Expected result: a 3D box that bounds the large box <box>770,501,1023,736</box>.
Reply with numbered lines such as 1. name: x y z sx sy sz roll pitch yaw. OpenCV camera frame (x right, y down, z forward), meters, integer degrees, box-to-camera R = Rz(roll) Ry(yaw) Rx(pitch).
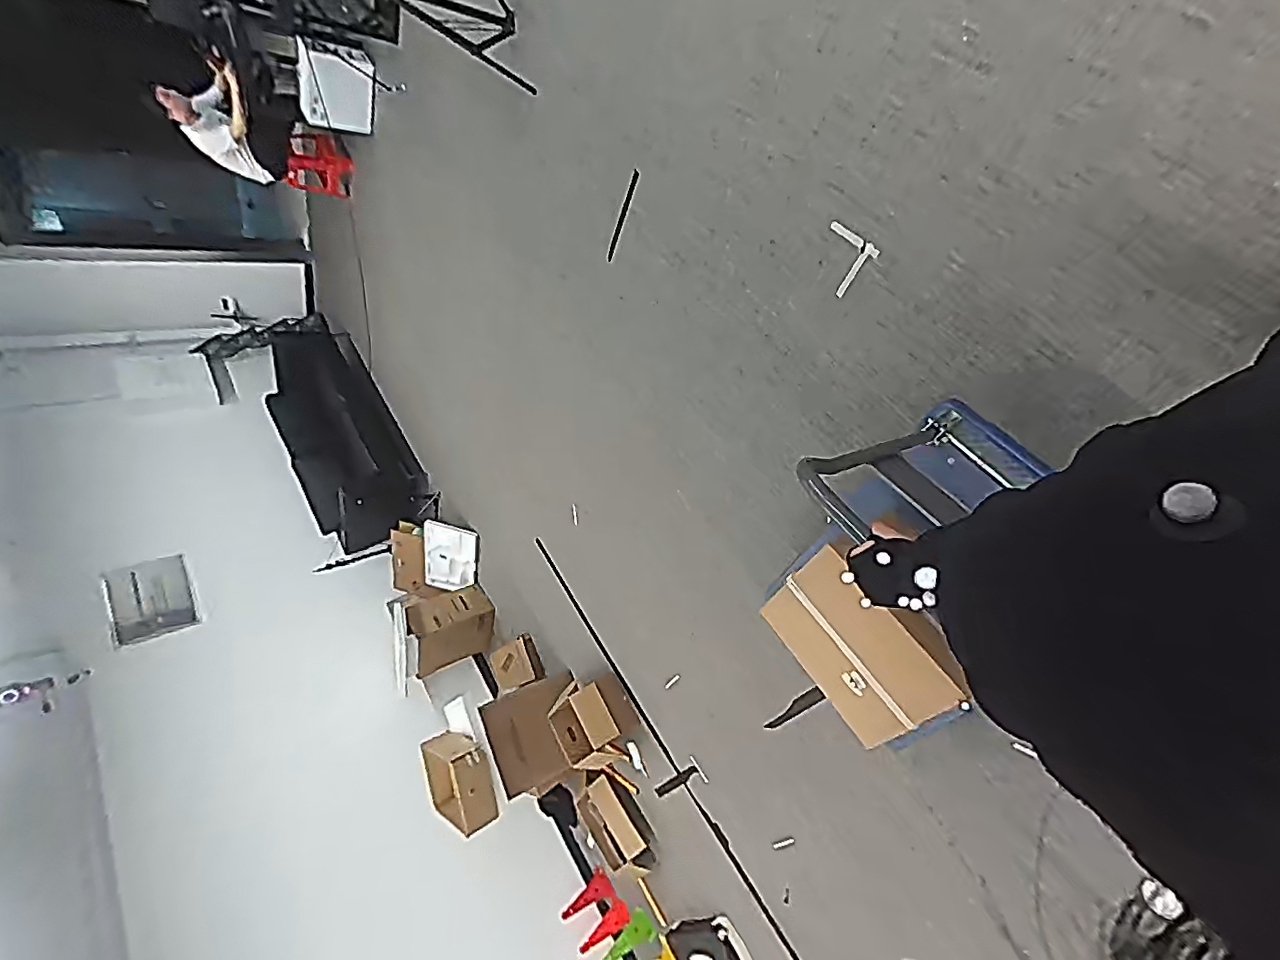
1. large box: 0.612 0.322 1.328 0.408 0.320 0.320 52 137 24
